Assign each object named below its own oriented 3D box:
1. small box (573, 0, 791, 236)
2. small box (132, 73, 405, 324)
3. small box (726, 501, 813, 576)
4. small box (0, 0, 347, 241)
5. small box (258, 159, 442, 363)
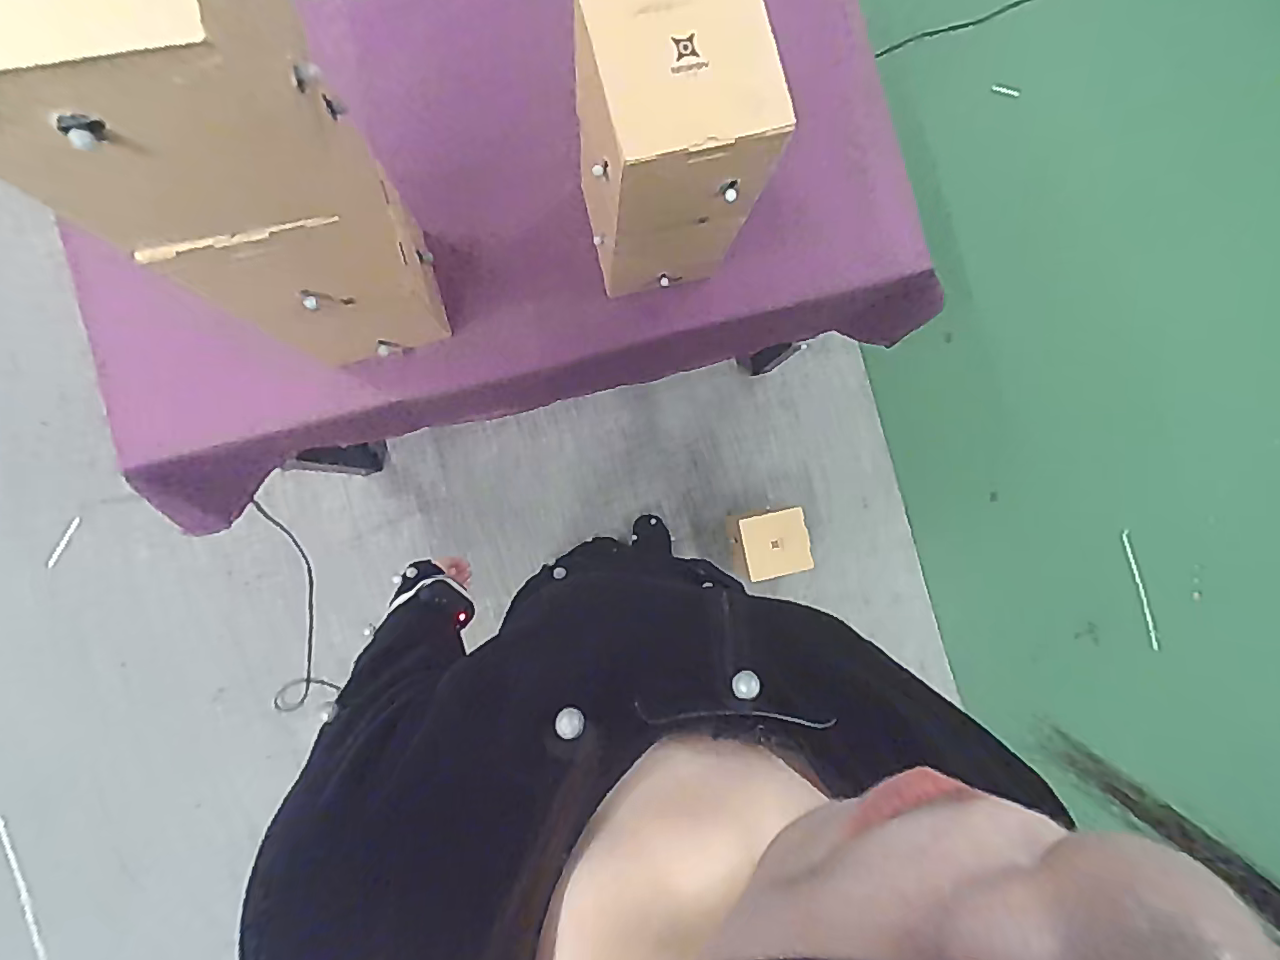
[{"bbox_3d":[0.033,-0.378,0.563,0.168,0.176,0.179,-15,90,-6],"label":"small box"},{"bbox_3d":[-0.354,-0.276,0.524,0.168,0.176,0.179,-15,90,-5],"label":"small box"},{"bbox_3d":[0.342,0.155,1.472,0.179,0.176,0.168,-12,90,-6],"label":"small box"},{"bbox_3d":[-0.334,-0.284,0.361,0.179,0.176,0.168,-14,89,-6],"label":"small box"},{"bbox_3d":[-0.368,-0.265,0.688,0.179,0.176,0.168,-17,89,-6],"label":"small box"}]
